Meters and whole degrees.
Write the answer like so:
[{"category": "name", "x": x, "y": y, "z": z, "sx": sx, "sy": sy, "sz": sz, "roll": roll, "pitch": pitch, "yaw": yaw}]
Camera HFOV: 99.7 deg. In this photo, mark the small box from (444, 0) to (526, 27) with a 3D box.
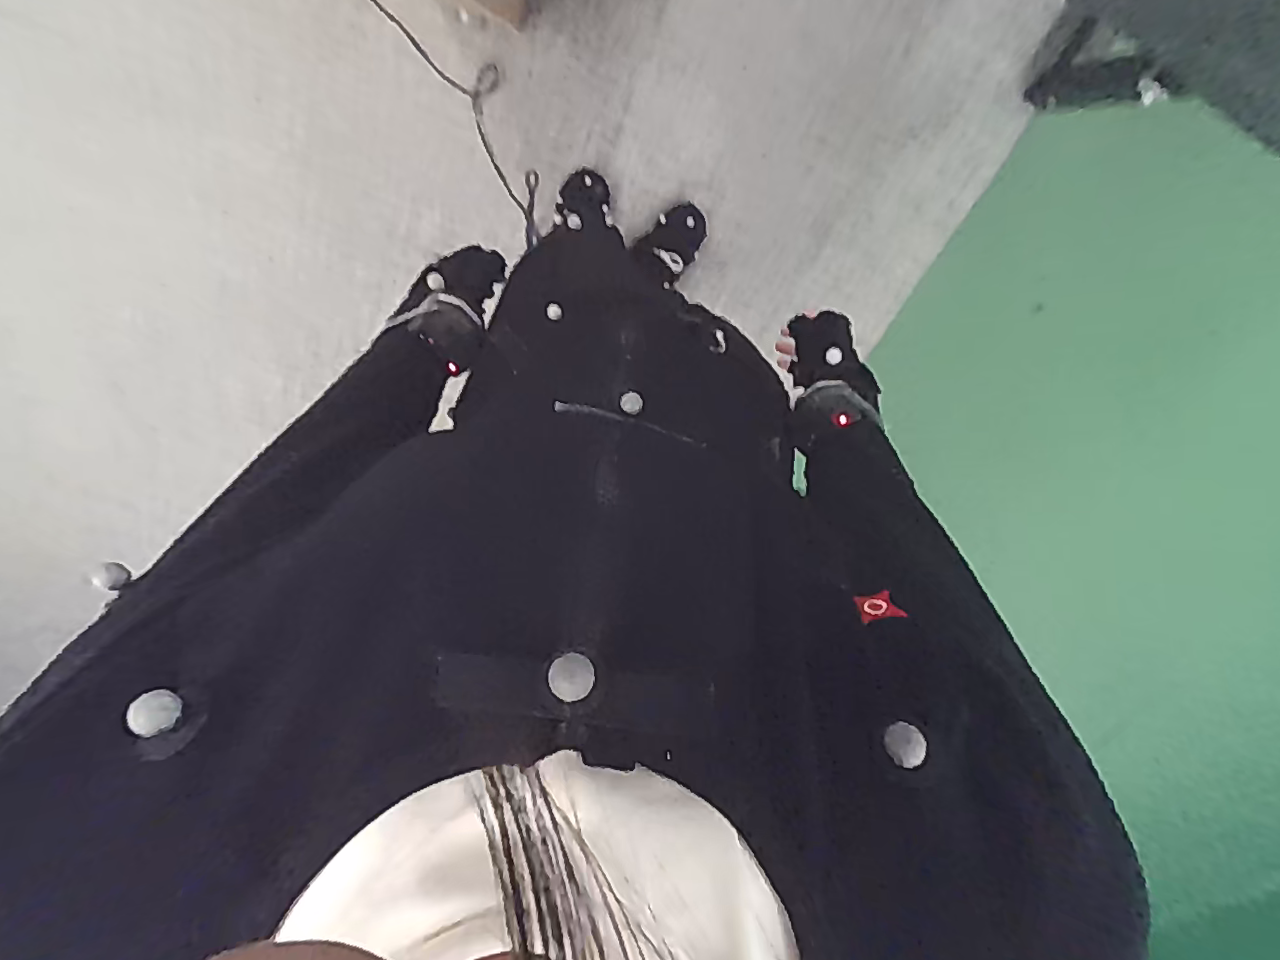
[{"category": "small box", "x": -0.283, "y": -0.913, "z": 0.916, "sx": 0.168, "sy": 0.176, "sz": 0.179, "roll": 16, "pitch": 122, "yaw": -6}]
